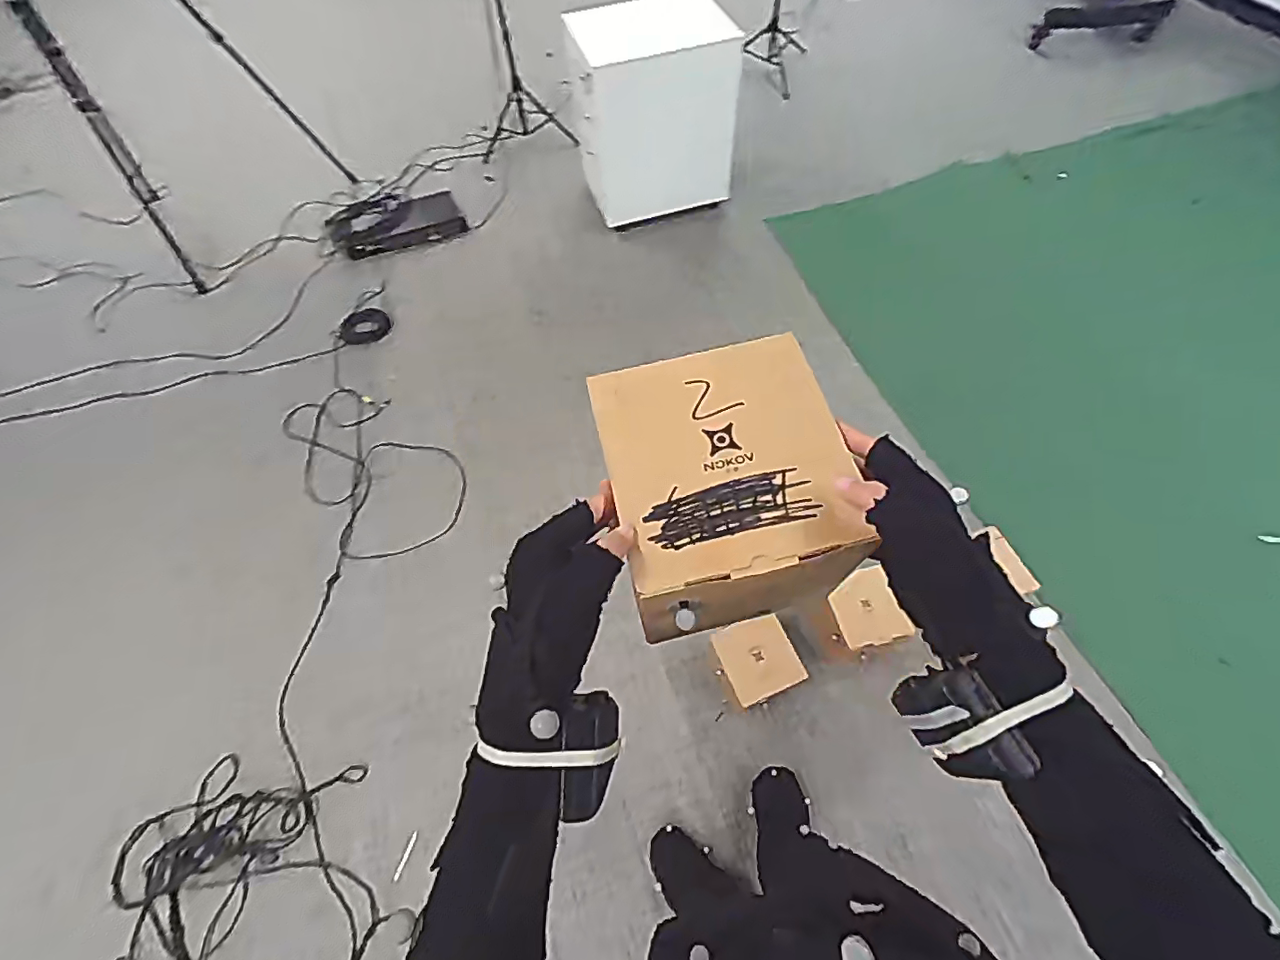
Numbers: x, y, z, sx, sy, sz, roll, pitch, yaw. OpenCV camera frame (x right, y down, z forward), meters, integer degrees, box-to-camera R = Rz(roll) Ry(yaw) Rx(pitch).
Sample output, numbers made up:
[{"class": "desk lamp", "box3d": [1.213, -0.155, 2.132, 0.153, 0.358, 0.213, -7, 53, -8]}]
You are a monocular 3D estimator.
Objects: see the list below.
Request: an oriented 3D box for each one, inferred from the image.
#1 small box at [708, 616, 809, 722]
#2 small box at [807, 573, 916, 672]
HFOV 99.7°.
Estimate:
[{"class": "small box", "box3d": [0.271, 0.453, 1.287, 0.168, 0.176, 0.179, -22, 63, -8]}, {"class": "small box", "box3d": [0.534, 0.354, 1.335, 0.168, 0.176, 0.179, -13, 61, -5]}]
